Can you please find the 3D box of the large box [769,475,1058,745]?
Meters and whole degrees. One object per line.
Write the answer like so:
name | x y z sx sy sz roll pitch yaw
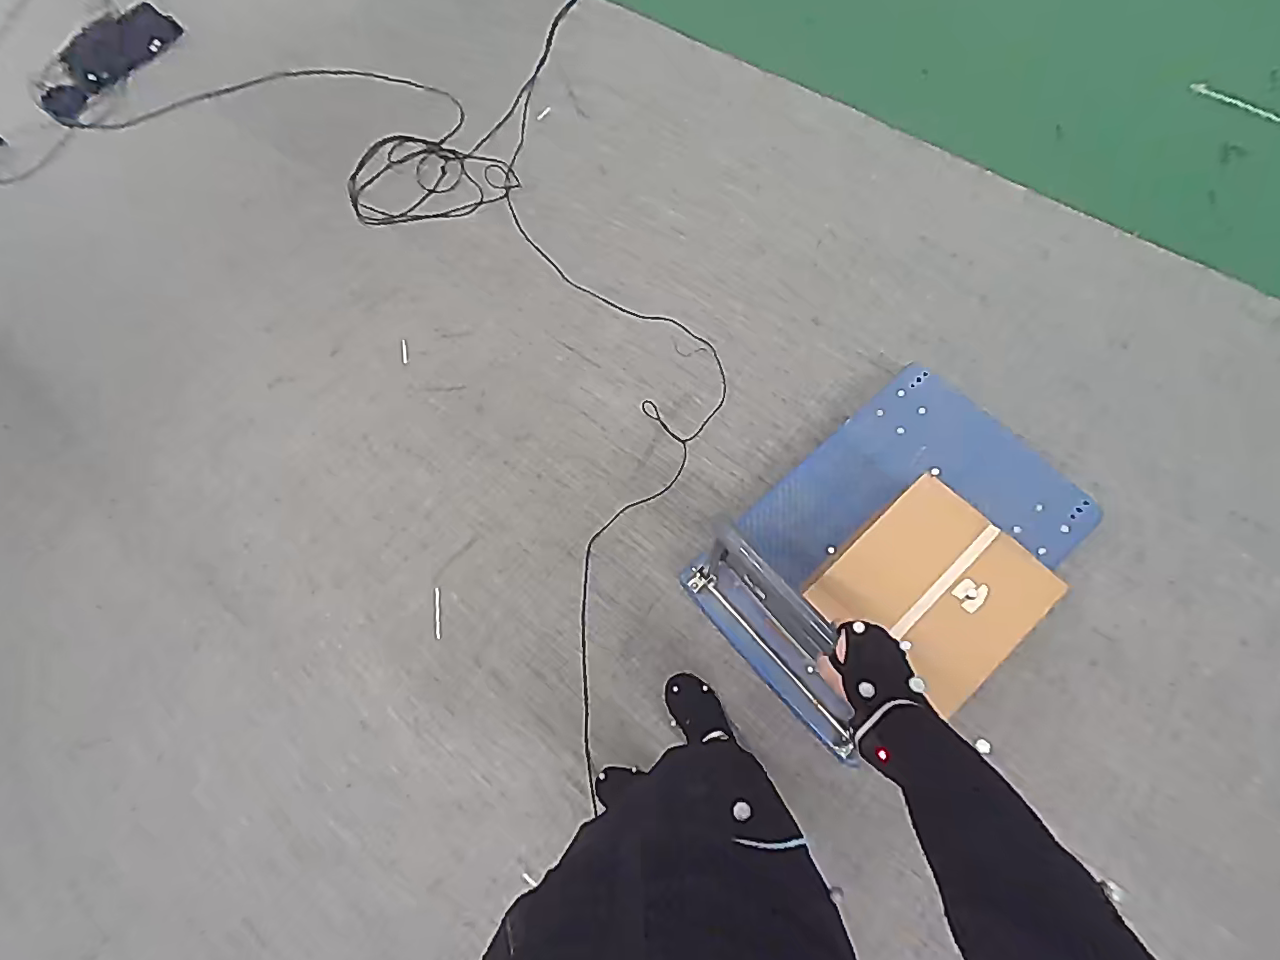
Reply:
large box | 0.534 0.270 1.139 0.408 0.320 0.320 -42 74 -8
